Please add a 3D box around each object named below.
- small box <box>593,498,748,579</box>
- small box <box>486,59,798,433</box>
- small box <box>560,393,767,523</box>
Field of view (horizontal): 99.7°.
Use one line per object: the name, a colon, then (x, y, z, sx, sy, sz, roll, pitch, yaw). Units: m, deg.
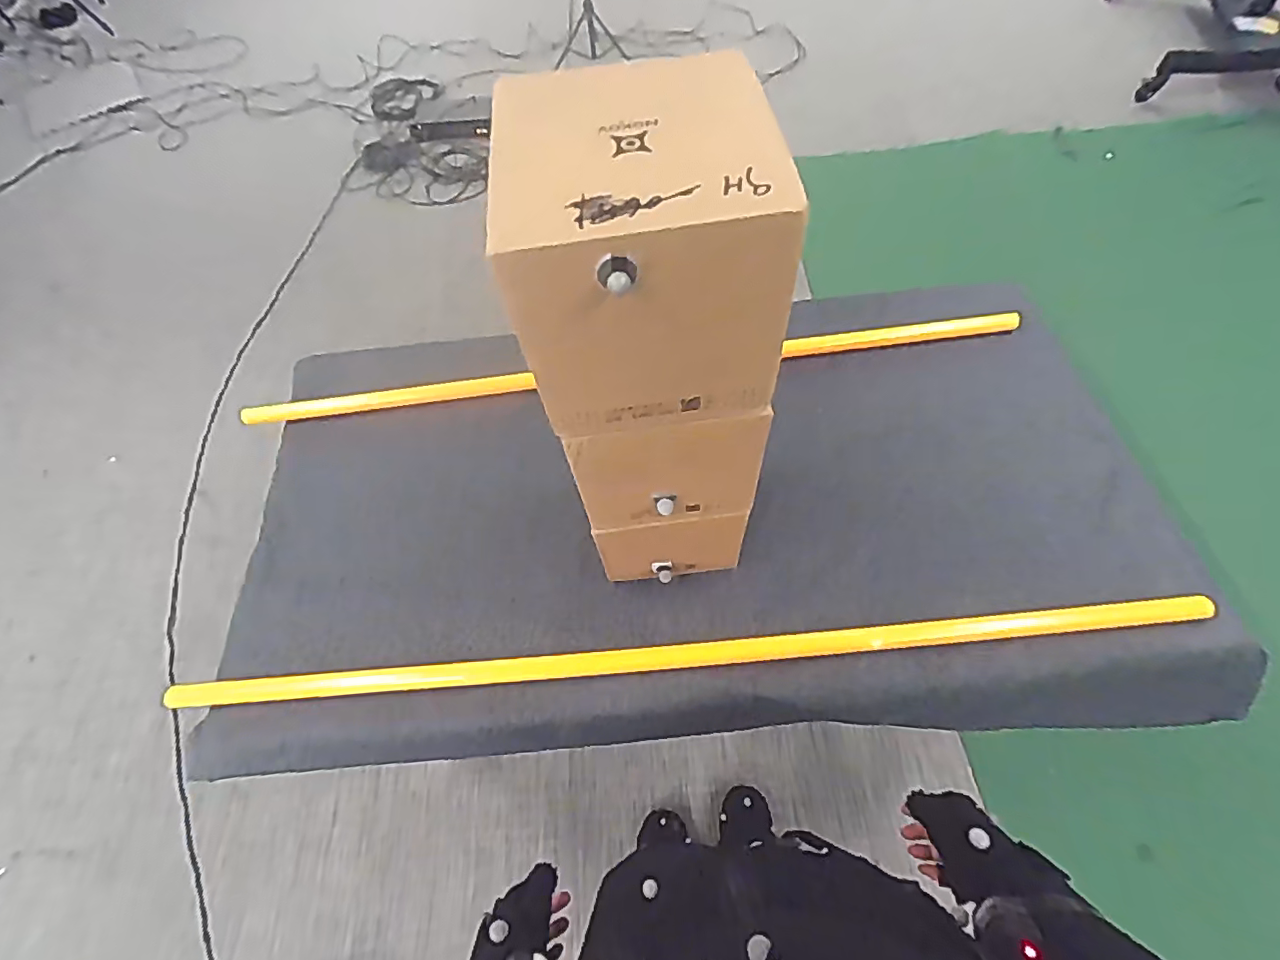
small box: (0.030, 0.006, 0.673, 0.168, 0.176, 0.179, -9, 62, 1)
small box: (0.000, -0.158, 0.390, 0.168, 0.176, 0.179, -8, 60, 2)
small box: (0.017, -0.077, 0.530, 0.168, 0.176, 0.179, -7, 61, 2)
